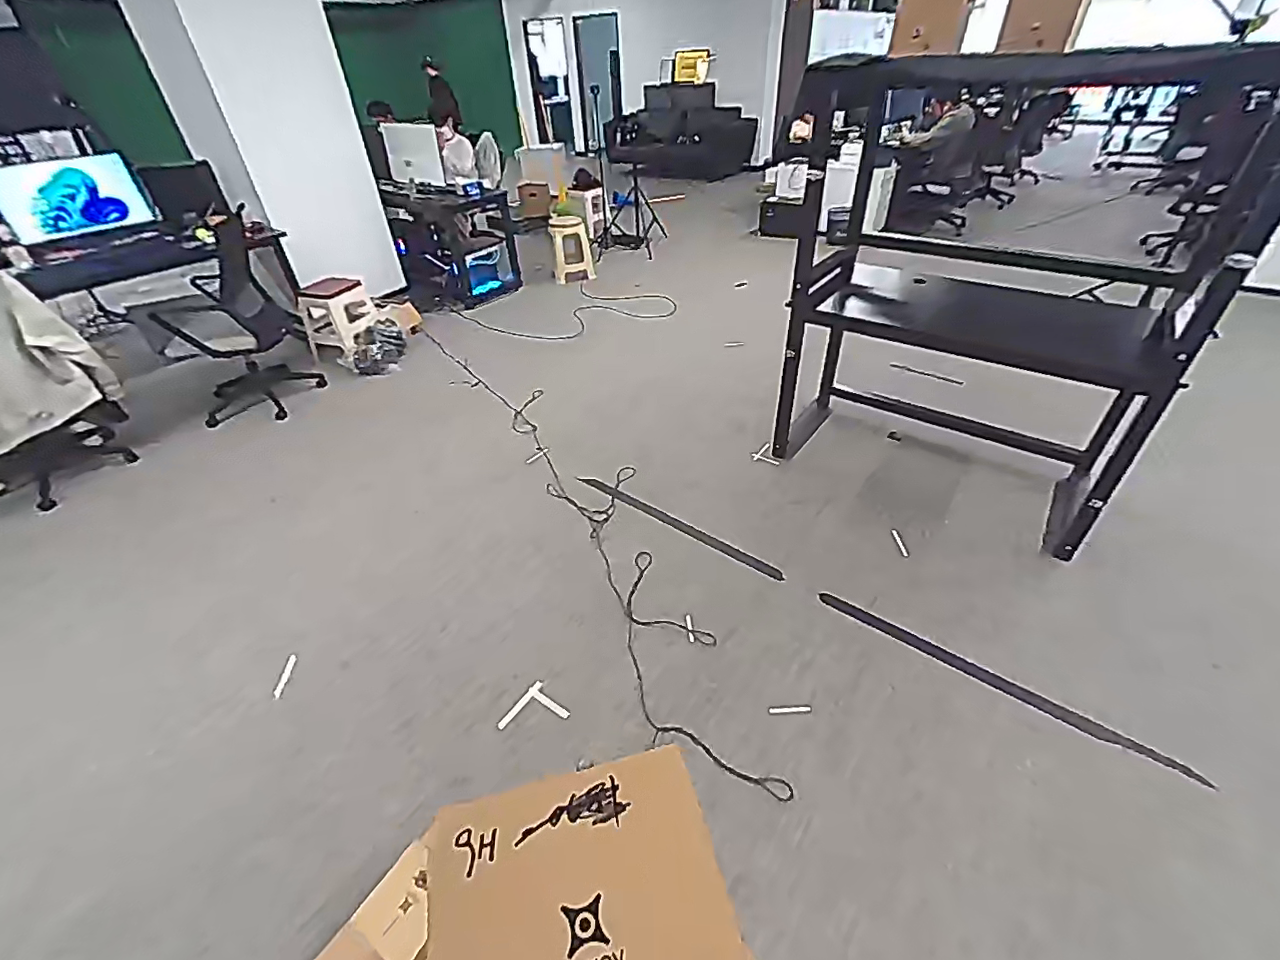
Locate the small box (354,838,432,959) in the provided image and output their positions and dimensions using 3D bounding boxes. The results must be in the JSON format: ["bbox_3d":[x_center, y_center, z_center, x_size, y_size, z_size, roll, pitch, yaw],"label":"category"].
[{"bbox_3d":[-0.462,0.925,1.157,0.168,0.176,0.179,20,44,26],"label":"small box"}]

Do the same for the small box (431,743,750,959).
[{"bbox_3d":[-0.028,0.304,0.344,0.168,0.176,0.179,-10,46,-12],"label":"small box"}]

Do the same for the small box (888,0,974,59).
[{"bbox_3d":[0.825,-1.303,1.528,0.168,0.176,0.179,24,44,28],"label":"small box"}]

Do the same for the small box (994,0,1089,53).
[{"bbox_3d":[1.041,-1.209,1.390,0.168,0.176,0.179,24,44,30],"label":"small box"}]
